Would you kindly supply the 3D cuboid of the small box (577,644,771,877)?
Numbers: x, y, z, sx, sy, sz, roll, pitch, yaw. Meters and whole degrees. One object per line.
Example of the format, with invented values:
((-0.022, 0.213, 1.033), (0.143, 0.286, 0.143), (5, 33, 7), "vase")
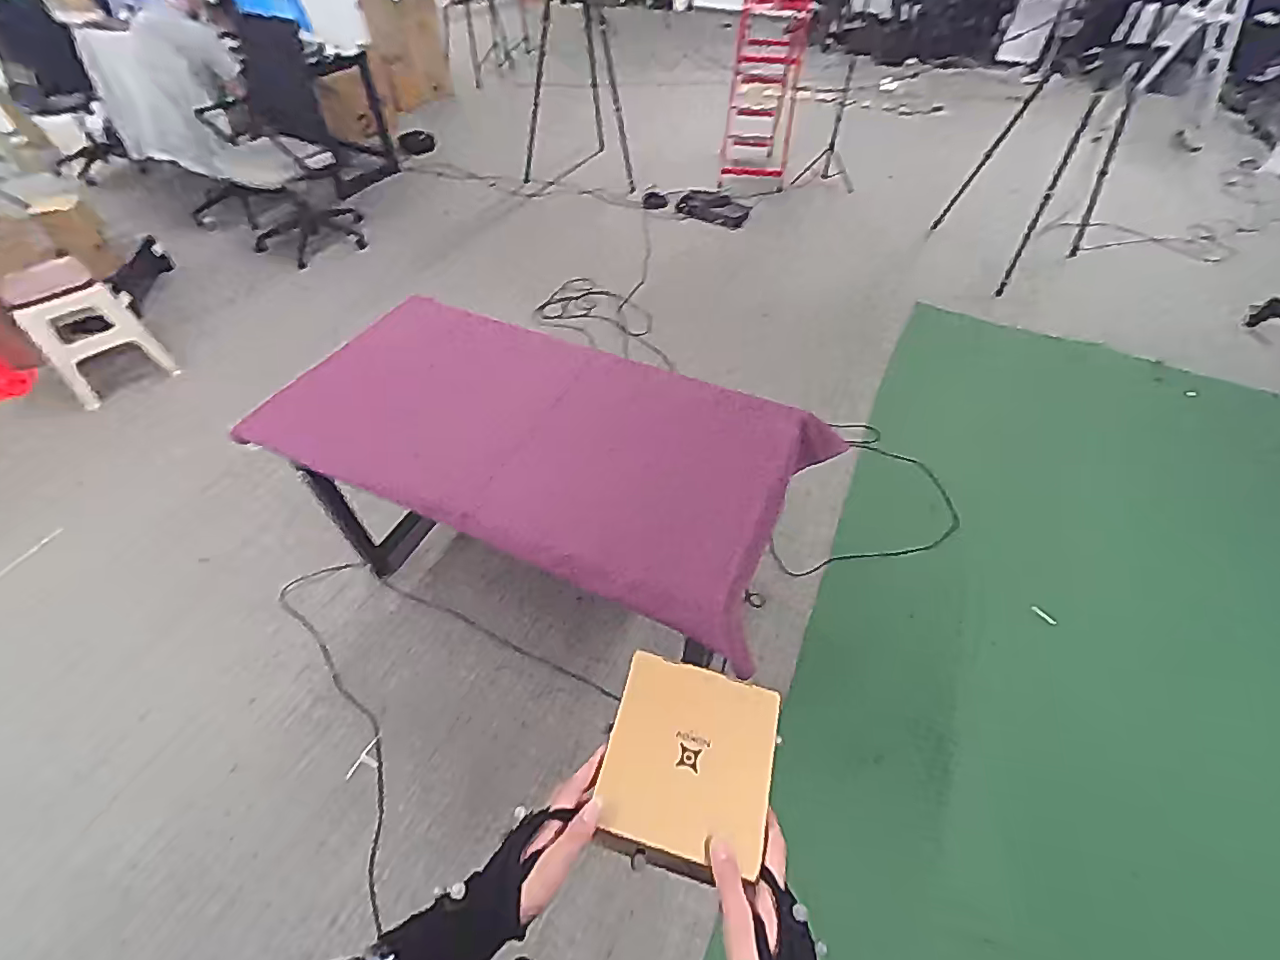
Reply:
((0.037, 0.317, 0.605), (0.168, 0.176, 0.179), (14, 51, 6), "small box")
